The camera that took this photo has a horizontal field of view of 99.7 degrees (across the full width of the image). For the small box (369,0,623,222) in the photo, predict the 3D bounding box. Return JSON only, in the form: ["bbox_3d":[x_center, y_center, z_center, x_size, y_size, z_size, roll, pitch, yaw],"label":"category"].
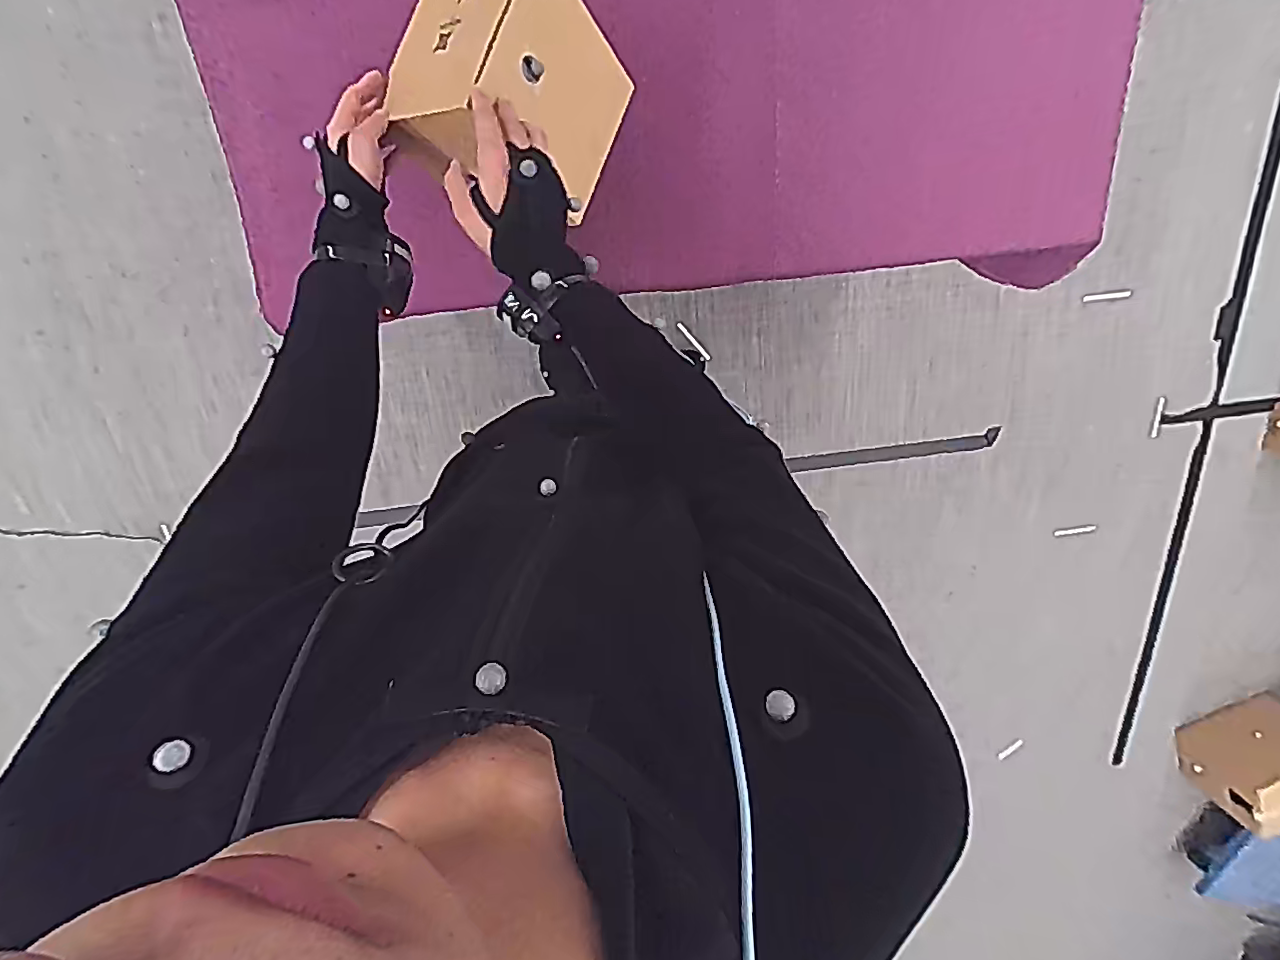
[{"bbox_3d":[-0.144,-0.402,0.577,0.176,0.168,0.179,24,87,-57],"label":"small box"}]
